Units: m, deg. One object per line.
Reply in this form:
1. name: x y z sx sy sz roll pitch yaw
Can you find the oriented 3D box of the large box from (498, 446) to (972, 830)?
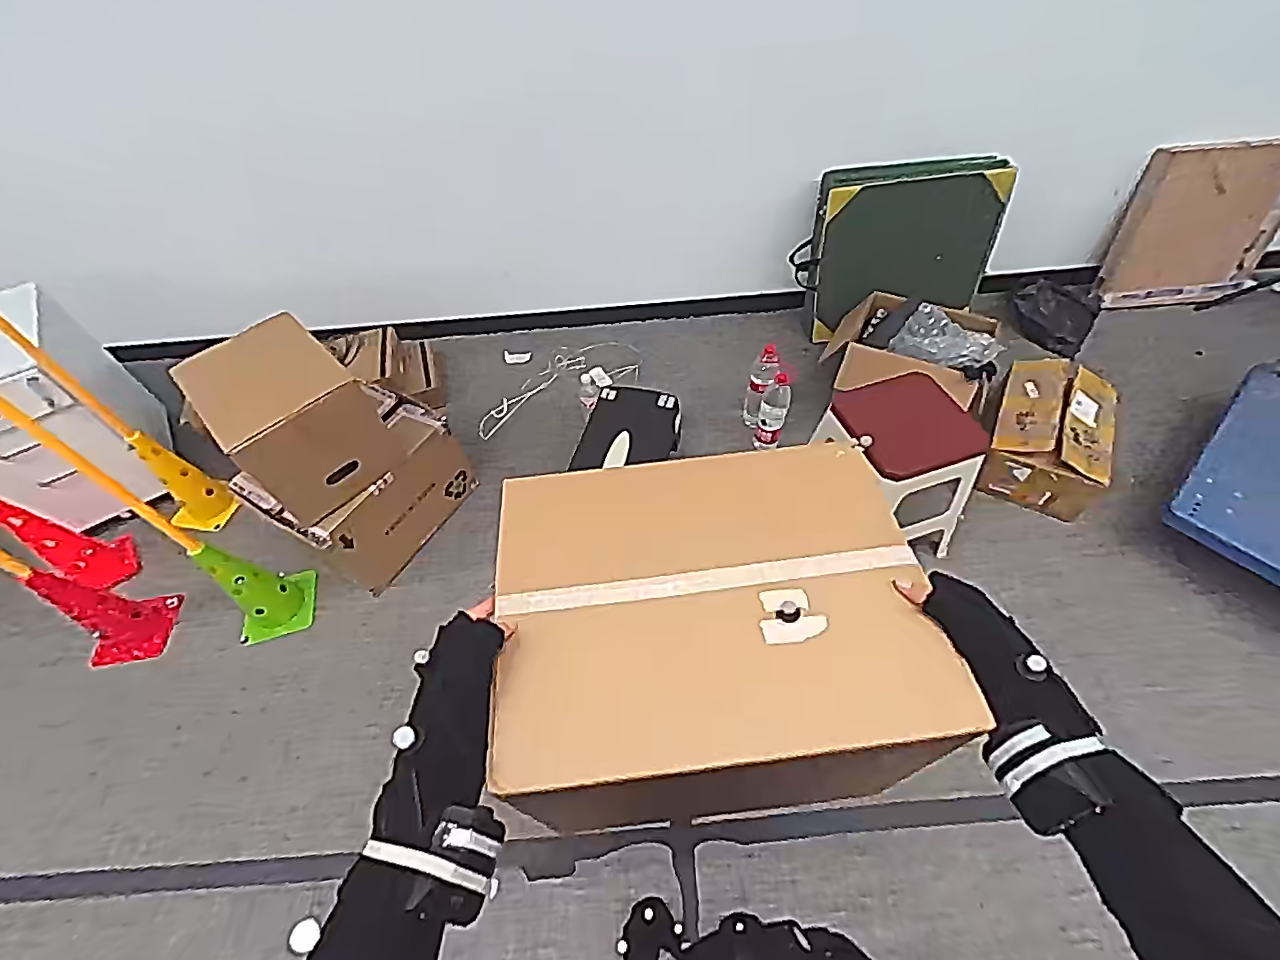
1. large box: 0.070 0.195 0.646 0.408 0.320 0.320 -7 52 -2
